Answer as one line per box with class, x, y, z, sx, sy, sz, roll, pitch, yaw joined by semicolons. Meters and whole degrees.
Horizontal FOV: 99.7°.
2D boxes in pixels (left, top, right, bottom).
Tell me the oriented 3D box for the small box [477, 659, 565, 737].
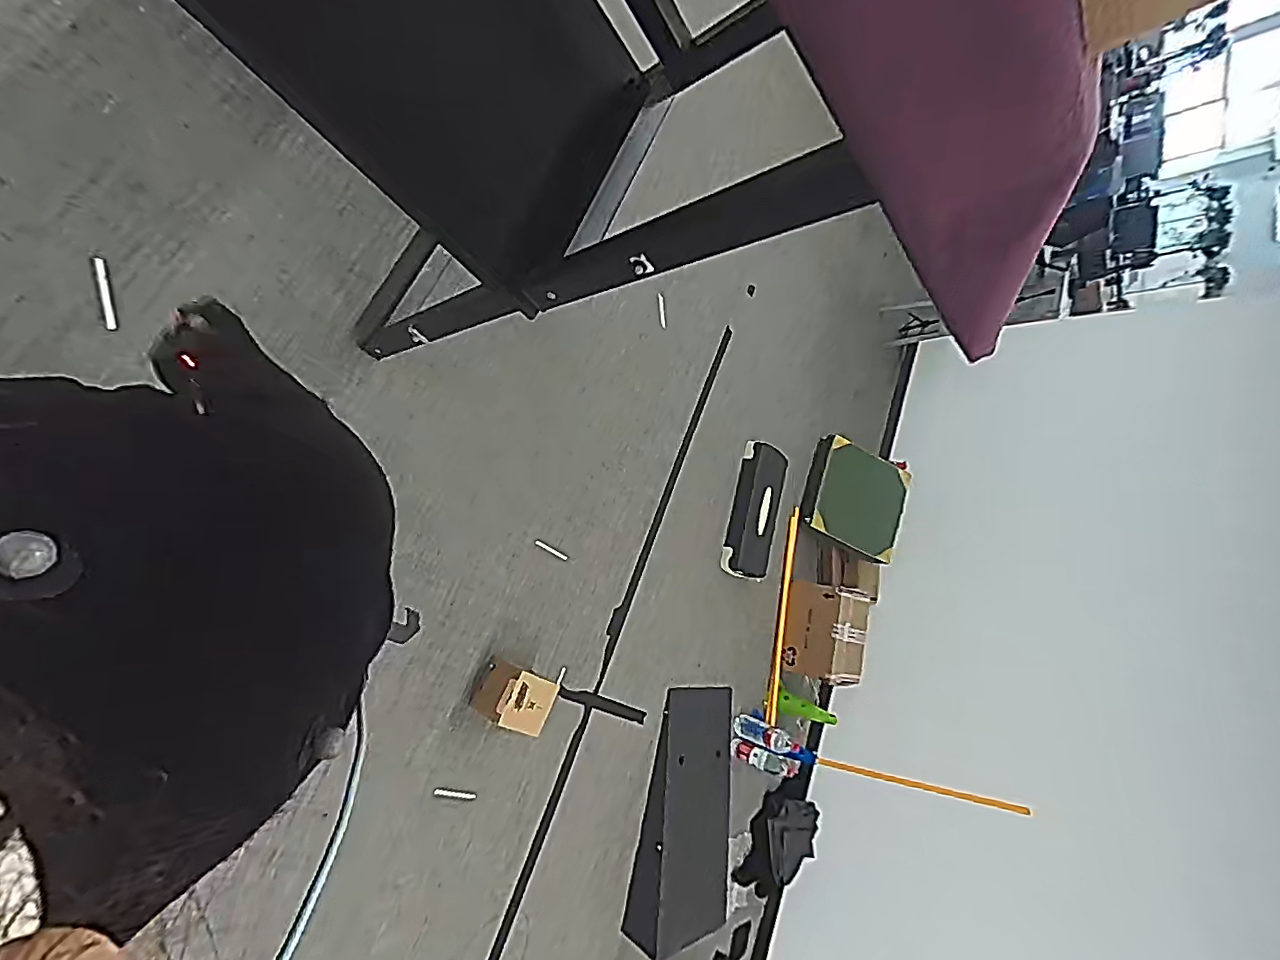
small box;-0.377;0.681;1.703;0.179;0.176;0.168;41;64;-39
